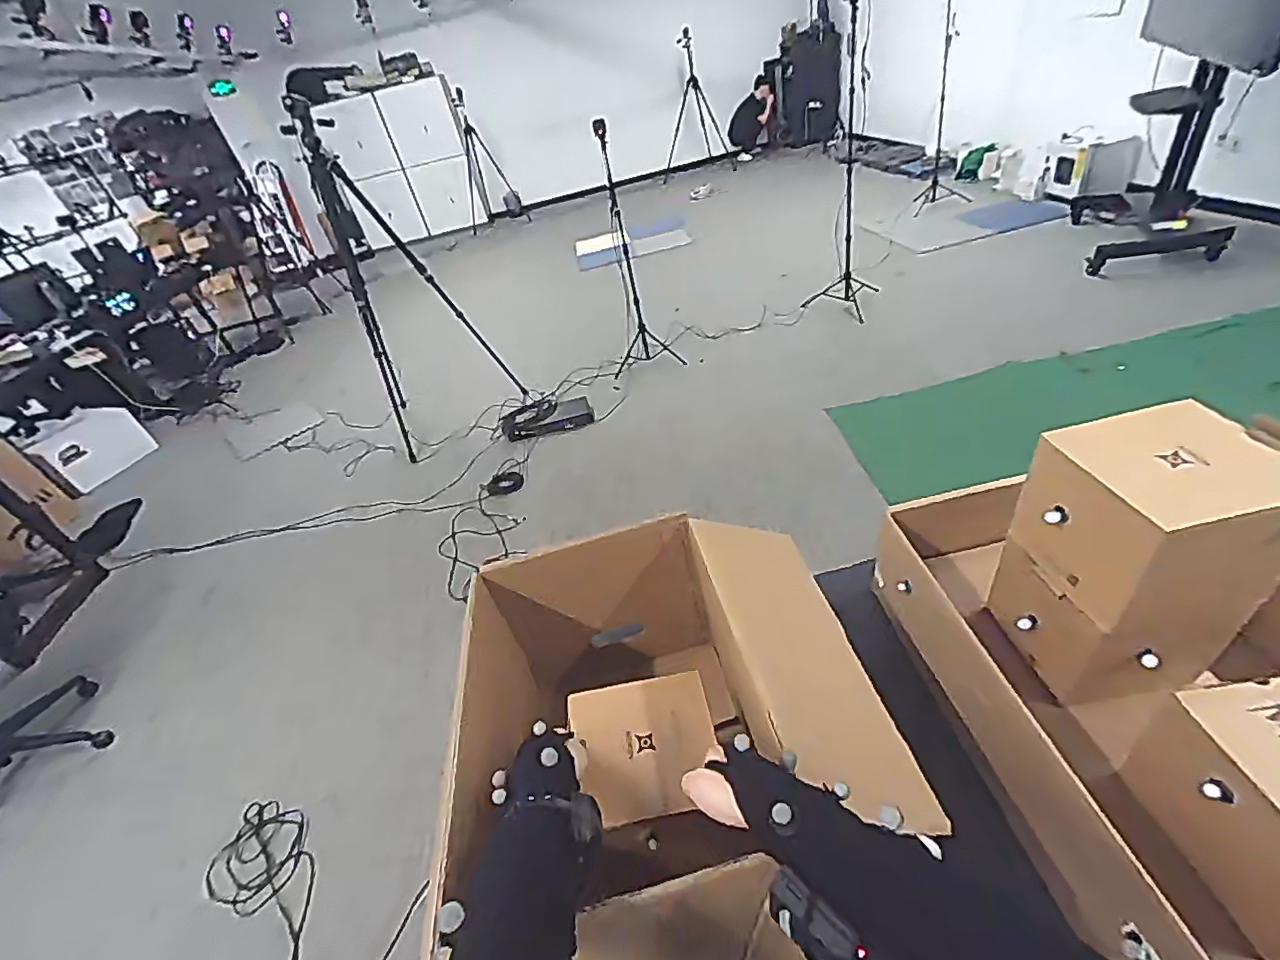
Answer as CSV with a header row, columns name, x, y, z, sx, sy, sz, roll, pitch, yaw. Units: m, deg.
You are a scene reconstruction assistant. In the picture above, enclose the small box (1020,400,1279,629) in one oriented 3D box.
name,x,y,z,sx,sy,sz,roll,pitch,yaw
small box,0.561,0.041,0.599,0.179,0.176,0.168,-14,39,1
